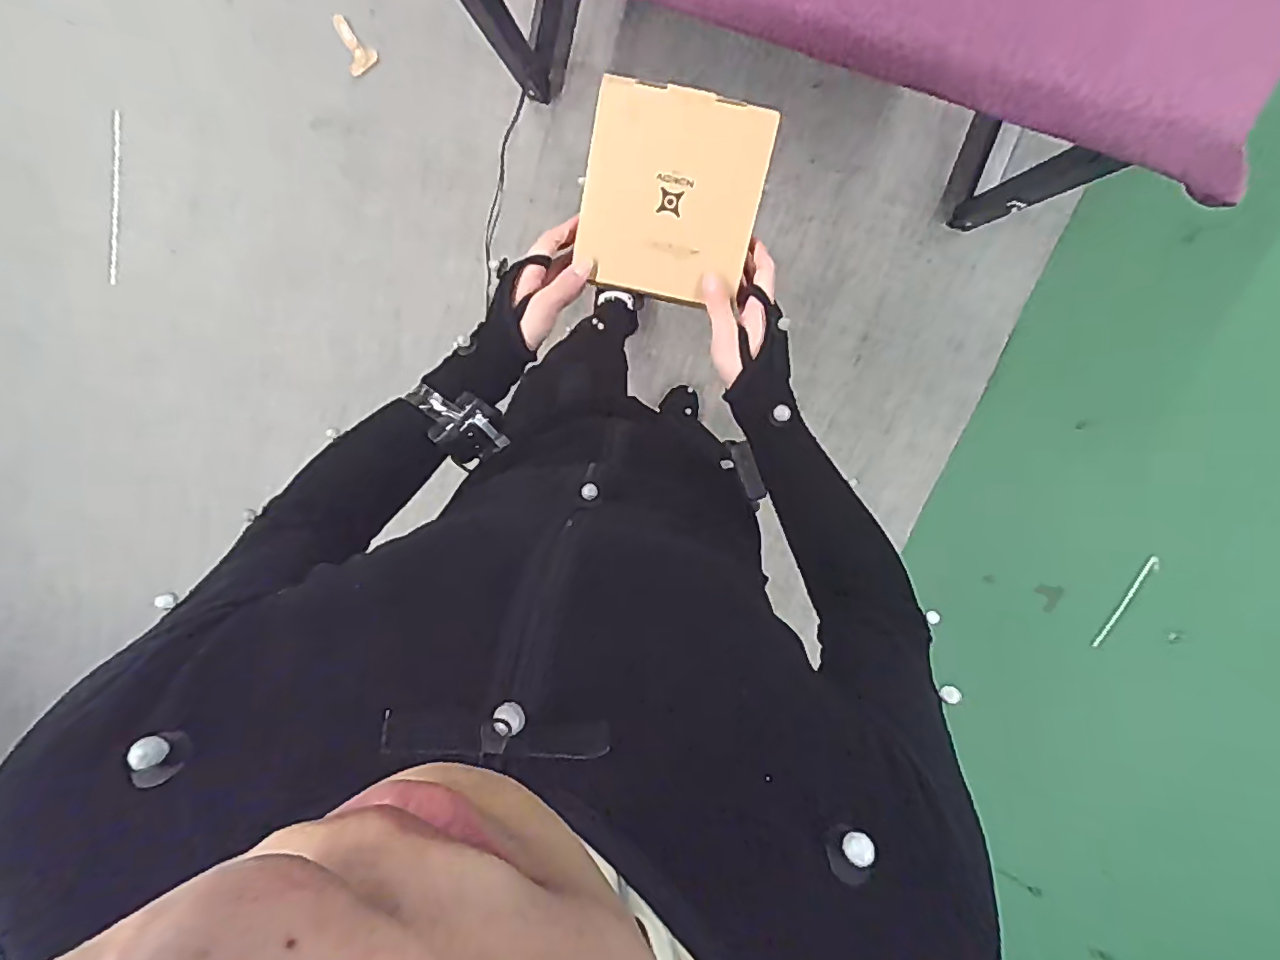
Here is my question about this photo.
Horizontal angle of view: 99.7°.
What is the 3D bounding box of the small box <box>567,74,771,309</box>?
[{"bbox_3d":[0.028,-0.292,0.588,0.168,0.176,0.179,12,108,0],"label":"small box"}]
